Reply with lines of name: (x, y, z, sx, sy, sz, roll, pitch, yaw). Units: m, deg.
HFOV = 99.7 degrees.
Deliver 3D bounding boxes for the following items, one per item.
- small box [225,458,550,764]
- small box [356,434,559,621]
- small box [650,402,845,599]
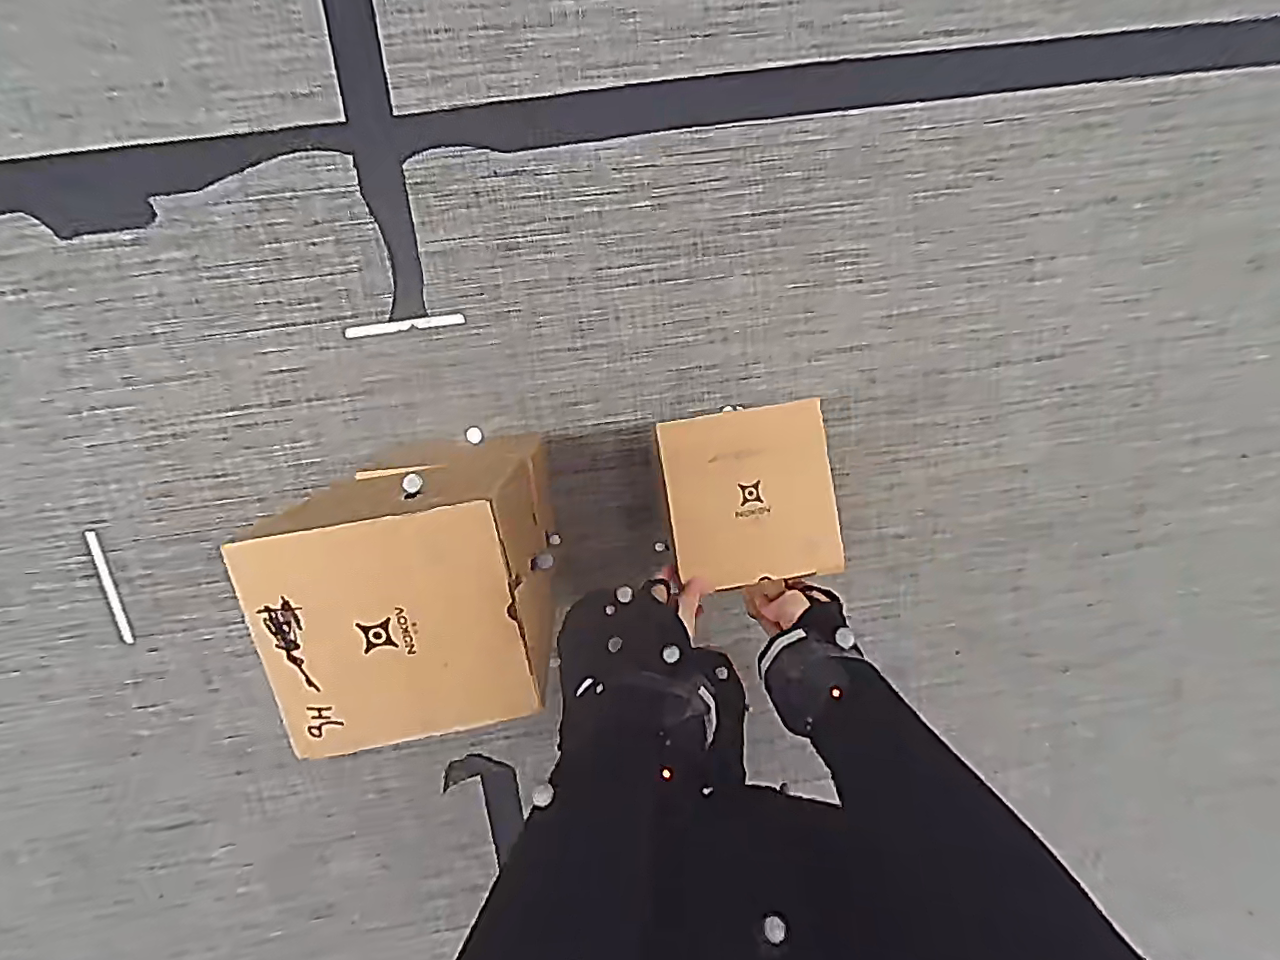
small box: (-0.171, 0.085, 0.436, 0.179, 0.176, 0.168, -10, 103, -4)
small box: (-0.182, 0.051, 0.597, 0.168, 0.176, 0.179, -5, 102, -5)
small box: (0.106, 0.018, 0.603, 0.168, 0.176, 0.179, -8, 91, -4)
